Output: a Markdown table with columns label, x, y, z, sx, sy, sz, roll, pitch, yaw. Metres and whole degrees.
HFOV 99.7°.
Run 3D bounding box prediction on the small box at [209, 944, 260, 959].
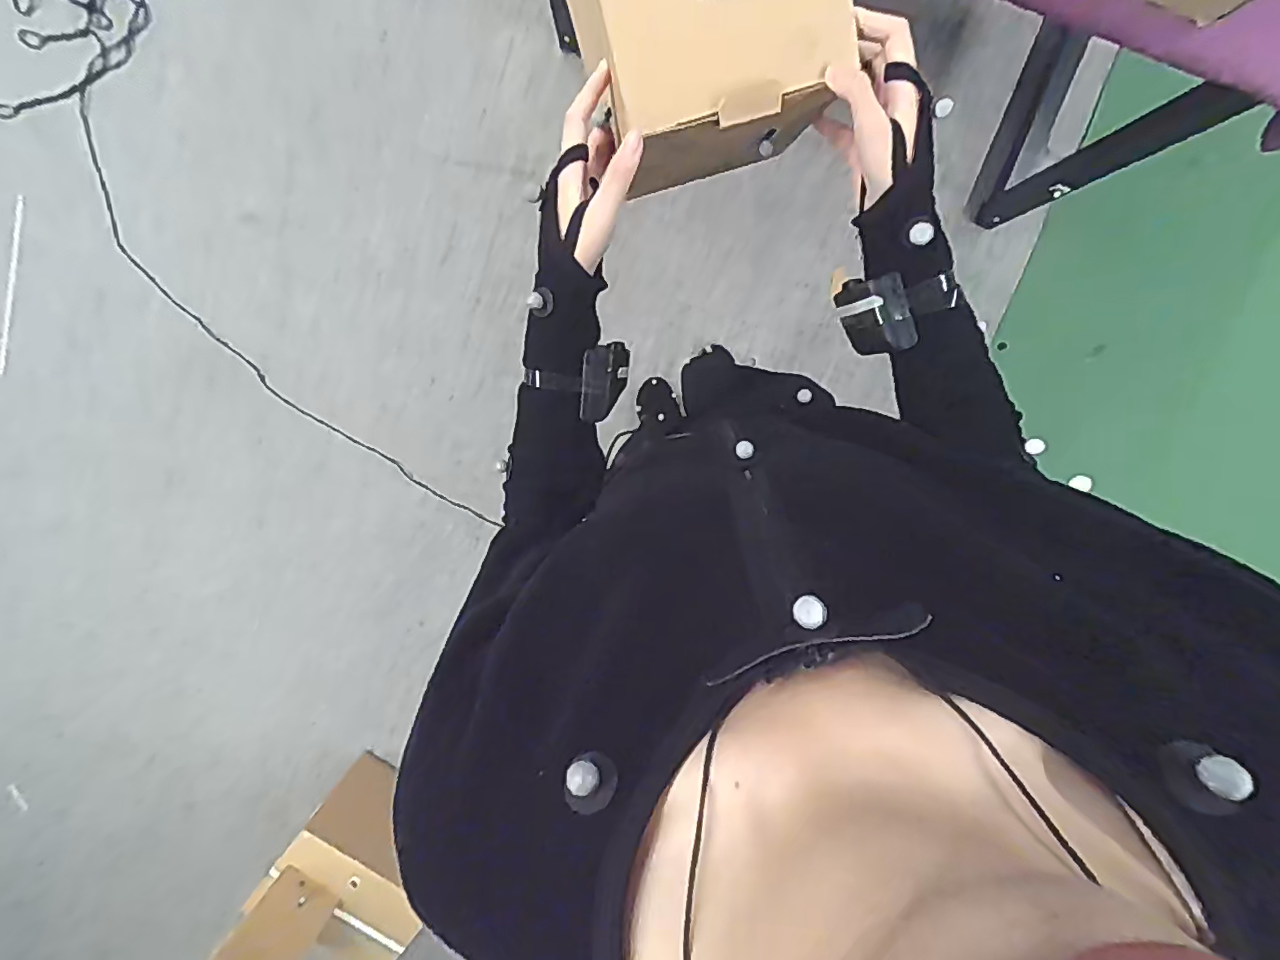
| label | x | y | z | sx | sy | sz | roll | pitch | yaw |
| --- | --- | --- | --- | --- | --- | --- | --- | --- | --- |
| small box | -0.896 | 1.134 | 1.131 | 0.179 | 0.176 | 0.168 | 39 | 99 | -6 |

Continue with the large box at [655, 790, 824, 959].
| label | x | y | z | sx | sy | sz | roll | pitch | yaw |
| --- | --- | --- | --- | --- | --- | --- | --- | --- | --- |
| large box | 0.256 | 1.132 | 1.537 | 0.408 | 0.320 | 0.320 | 5 | 100 | -2 |

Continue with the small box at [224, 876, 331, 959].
| label | x | y | z | sx | sy | sz | roll | pitch | yaw |
| --- | --- | --- | --- | --- | --- | --- | --- | --- | --- |
| small box | -0.886 | 1.111 | 1.292 | 0.168 | 0.176 | 0.179 | 38 | 99 | -6 |

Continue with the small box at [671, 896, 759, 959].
| label | x | y | z | sx | sy | sz | roll | pitch | yaw |
| --- | --- | --- | --- | --- | --- | --- | --- | --- | --- |
| small box | 0.173 | 1.145 | 1.291 | 0.179 | 0.176 | 0.168 | 10 | 99 | -1 |
